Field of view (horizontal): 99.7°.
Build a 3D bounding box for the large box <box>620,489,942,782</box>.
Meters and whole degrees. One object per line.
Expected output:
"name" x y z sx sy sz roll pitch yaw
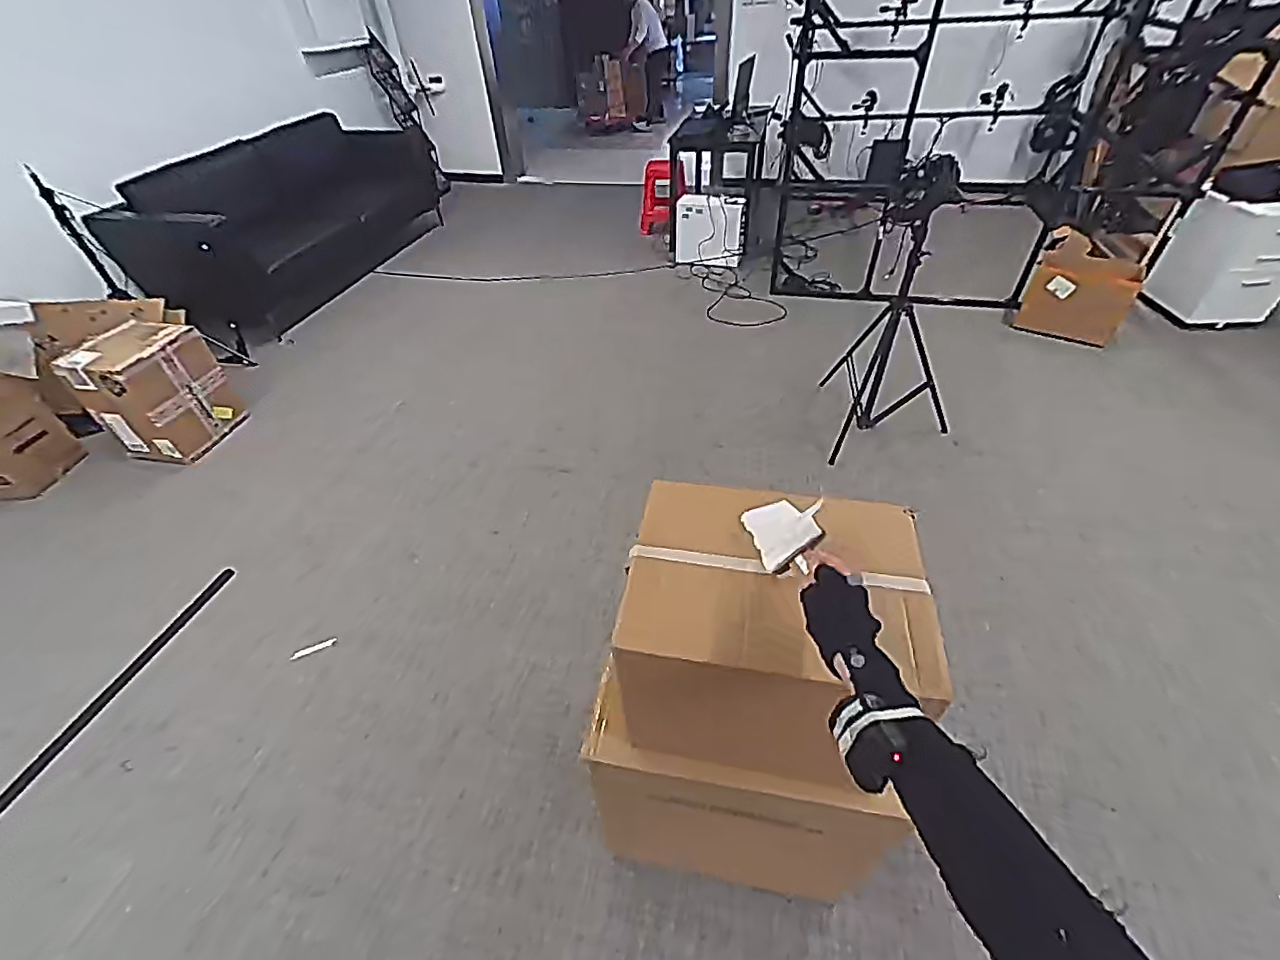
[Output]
"large box" 0.195 0.243 0.877 0.408 0.320 0.320 6 44 9
